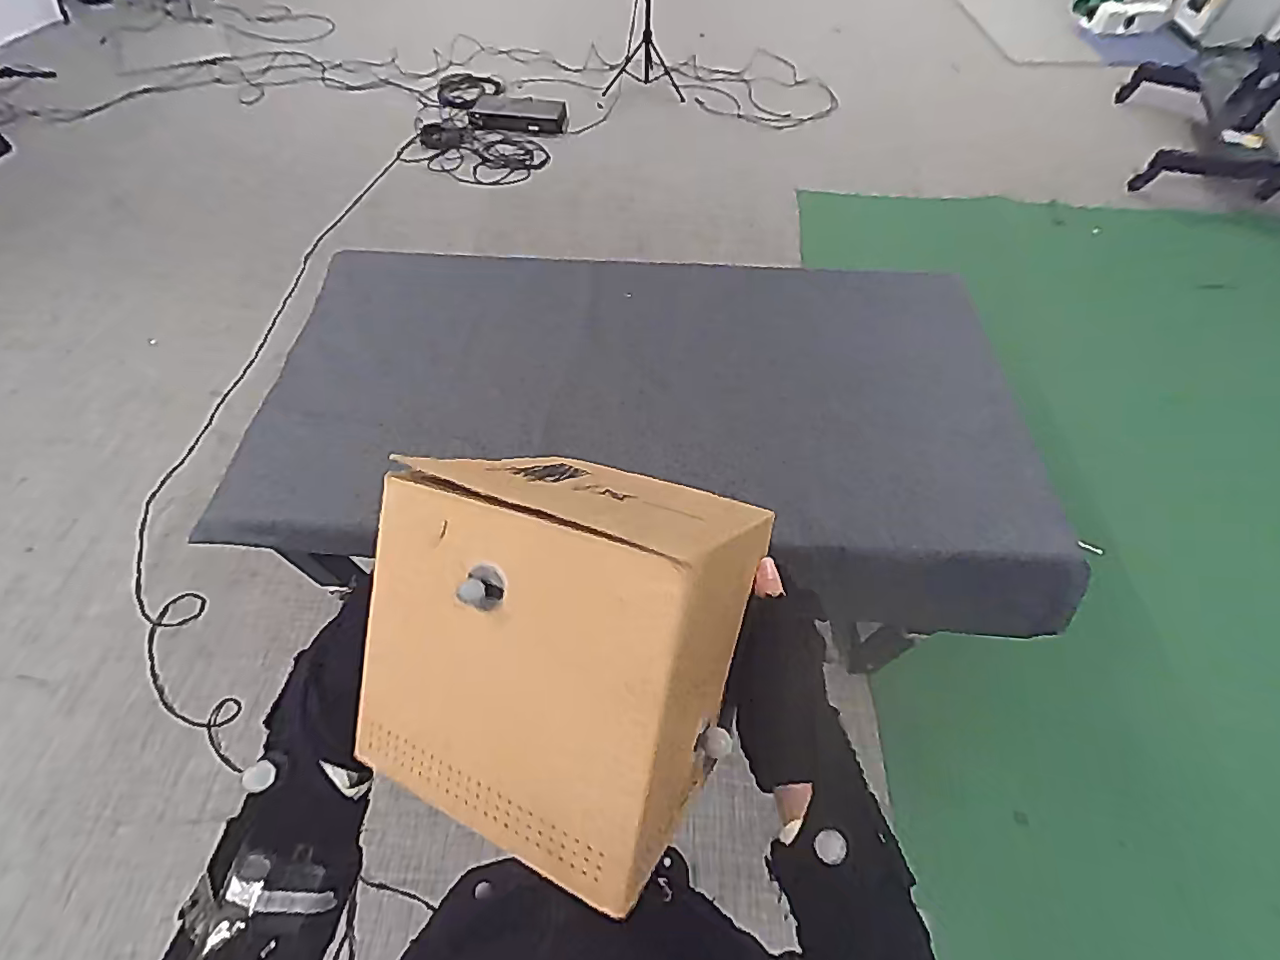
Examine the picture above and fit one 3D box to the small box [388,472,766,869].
[{"bbox_3d":[-0.035,0.094,0.348,0.179,0.168,0.176,12,98,23],"label":"small box"}]
